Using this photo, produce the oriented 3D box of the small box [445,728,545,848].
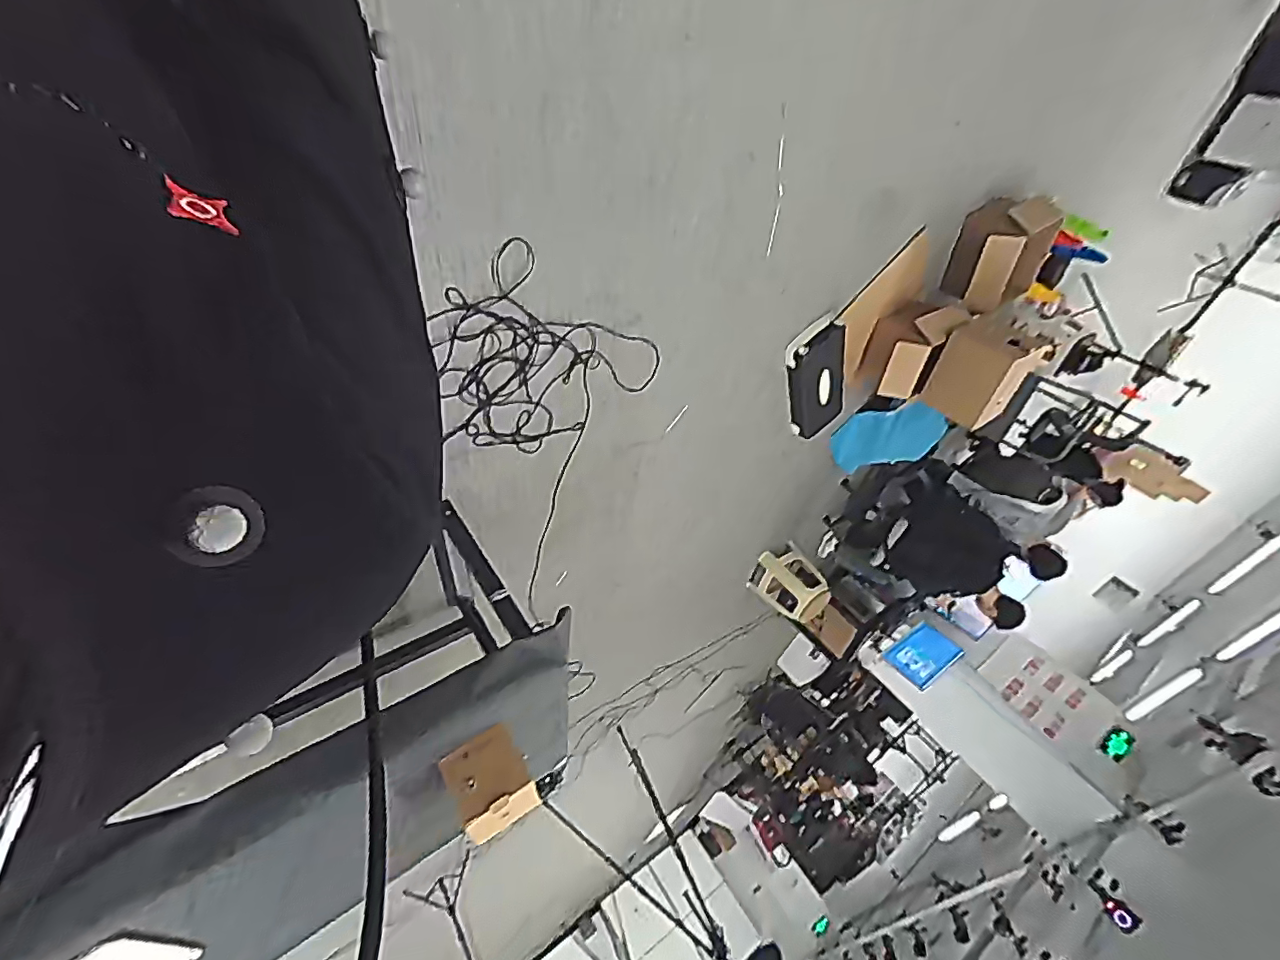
[{"bbox_3d":[-0.346,0.728,1.292,0.168,0.176,0.179,-25,142,-24],"label":"small box"}]
